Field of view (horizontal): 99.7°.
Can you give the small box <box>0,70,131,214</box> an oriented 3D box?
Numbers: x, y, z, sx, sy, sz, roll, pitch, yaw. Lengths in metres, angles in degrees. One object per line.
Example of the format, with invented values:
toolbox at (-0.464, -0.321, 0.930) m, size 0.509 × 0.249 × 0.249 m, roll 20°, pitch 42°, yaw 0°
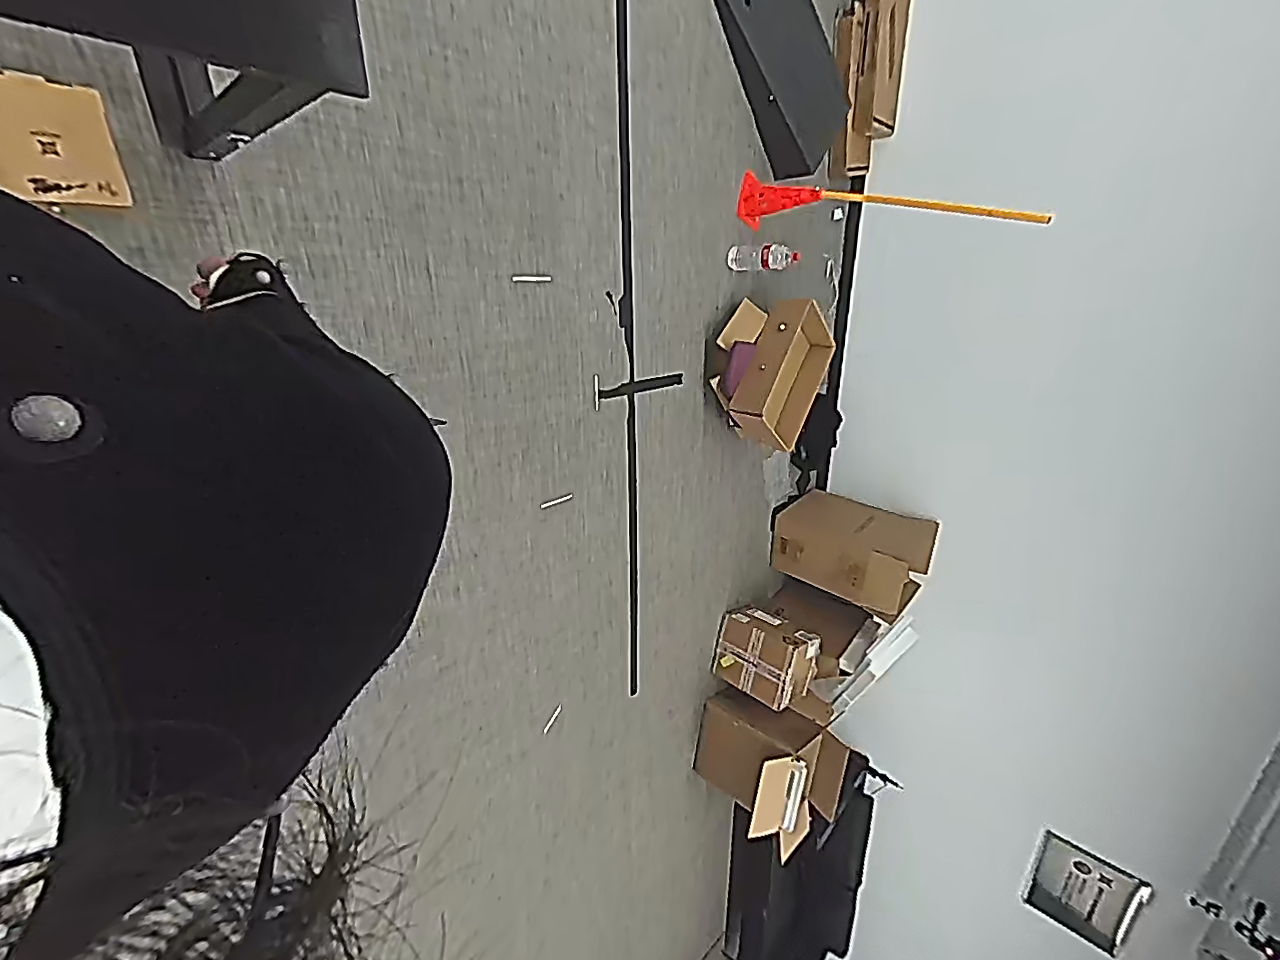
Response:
small box at (-1.000, -0.557, 0.906) m, size 0.168 × 0.176 × 0.179 m, roll -21°, pitch 119°, yaw -42°
